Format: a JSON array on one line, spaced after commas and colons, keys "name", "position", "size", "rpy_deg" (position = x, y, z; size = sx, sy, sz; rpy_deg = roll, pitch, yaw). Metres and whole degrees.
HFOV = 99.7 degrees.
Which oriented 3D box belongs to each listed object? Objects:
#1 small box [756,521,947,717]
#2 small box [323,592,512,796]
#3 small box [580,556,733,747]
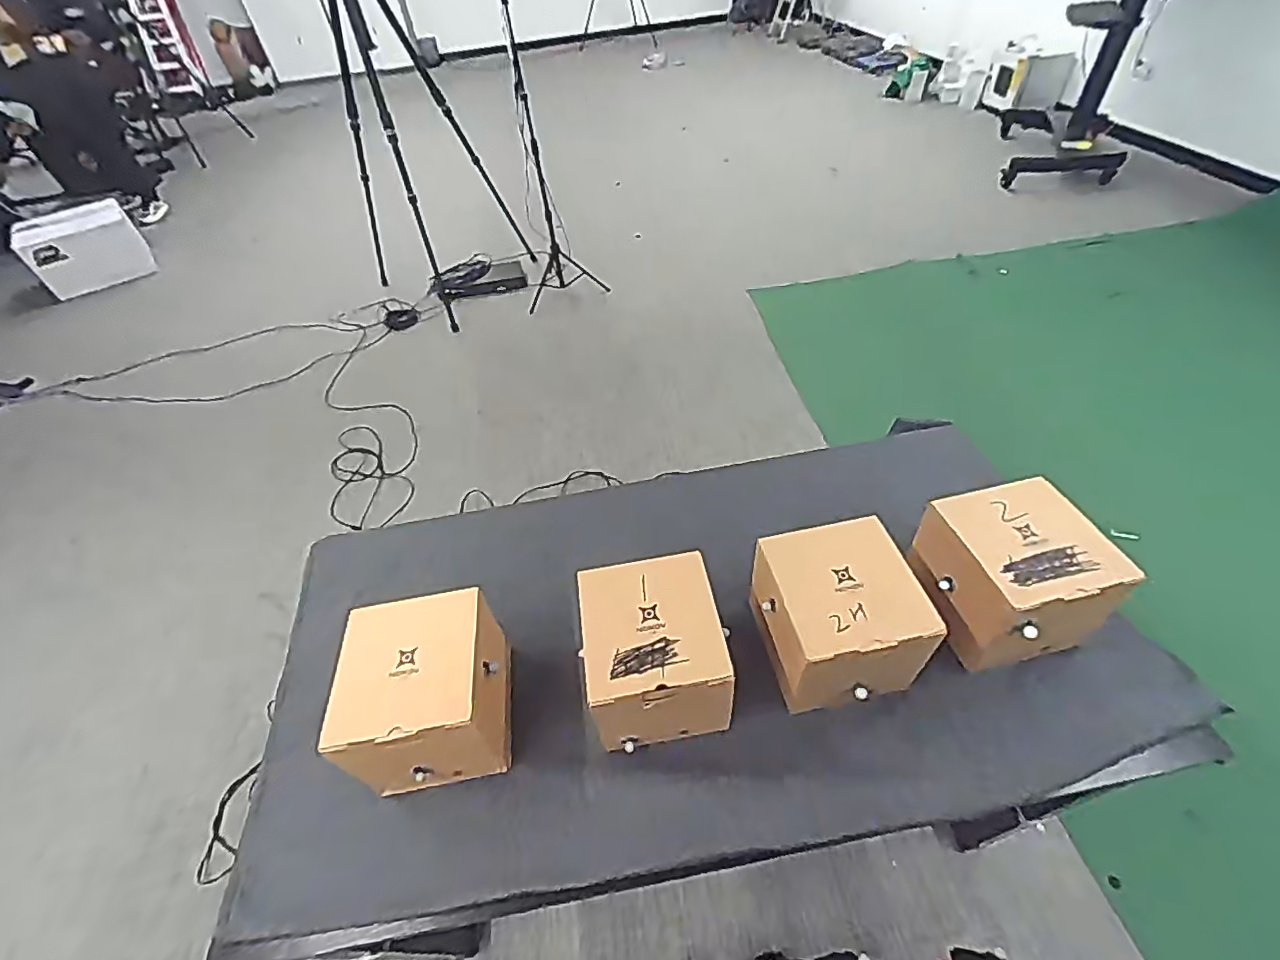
[{"name": "small box", "position": [0.258, 0.184, 0.715], "size": [0.168, 0.176, 0.179], "rpy_deg": [-12, 47, -2]}, {"name": "small box", "position": [-0.264, 0.272, 0.691], "size": [0.168, 0.176, 0.179], "rpy_deg": [-10, 46, -4]}, {"name": "small box", "position": [0.020, 0.227, 0.702], "size": [0.168, 0.176, 0.179], "rpy_deg": [-9, 46, -2]}]
